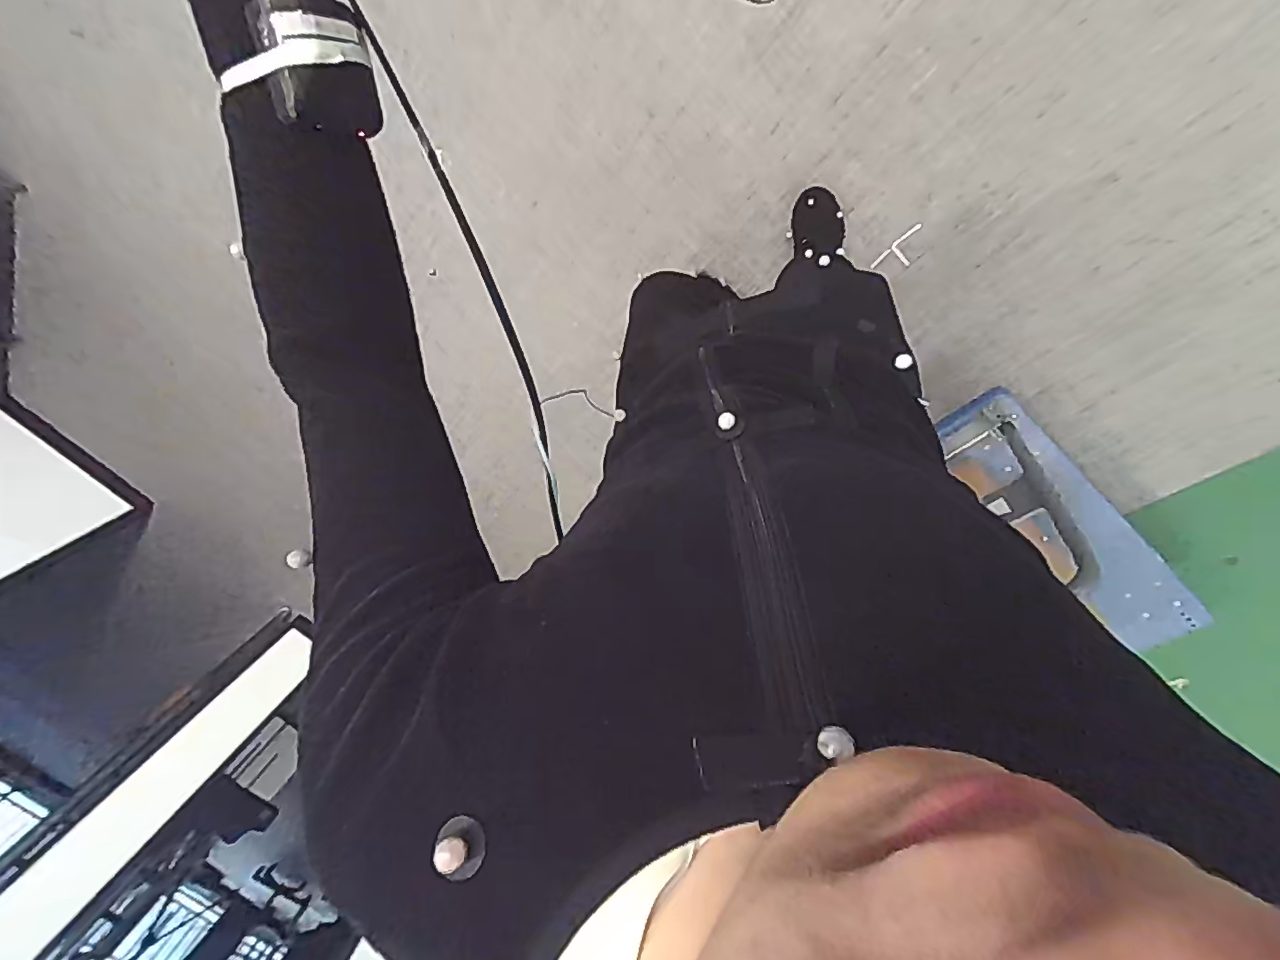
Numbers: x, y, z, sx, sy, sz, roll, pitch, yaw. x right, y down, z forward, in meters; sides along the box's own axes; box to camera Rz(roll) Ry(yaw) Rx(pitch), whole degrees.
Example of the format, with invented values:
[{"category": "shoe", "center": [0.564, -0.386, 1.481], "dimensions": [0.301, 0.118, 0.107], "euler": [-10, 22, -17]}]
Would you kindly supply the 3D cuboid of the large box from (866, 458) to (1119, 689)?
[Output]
[{"category": "large box", "center": [0.829, 0.224, 1.335], "dimensions": [0.408, 0.320, 0.320], "euler": [41, 124, -9]}]
